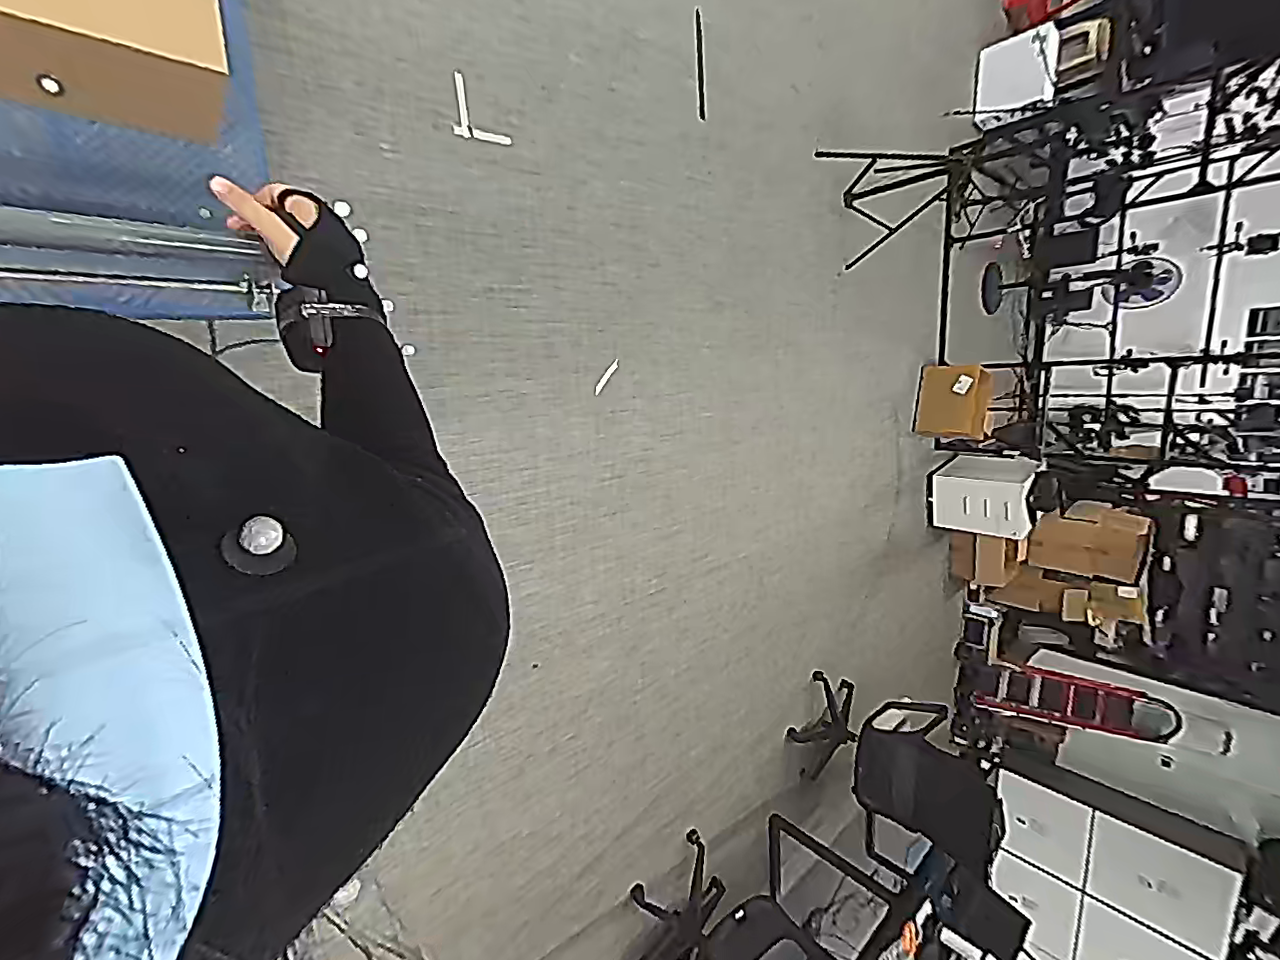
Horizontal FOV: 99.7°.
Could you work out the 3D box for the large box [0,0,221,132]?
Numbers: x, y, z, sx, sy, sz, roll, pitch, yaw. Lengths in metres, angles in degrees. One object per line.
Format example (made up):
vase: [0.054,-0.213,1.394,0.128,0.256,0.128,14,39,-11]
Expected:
large box: [-0.868,-0.746,0.752,0.408,0.320,0.320,-11,103,-40]
